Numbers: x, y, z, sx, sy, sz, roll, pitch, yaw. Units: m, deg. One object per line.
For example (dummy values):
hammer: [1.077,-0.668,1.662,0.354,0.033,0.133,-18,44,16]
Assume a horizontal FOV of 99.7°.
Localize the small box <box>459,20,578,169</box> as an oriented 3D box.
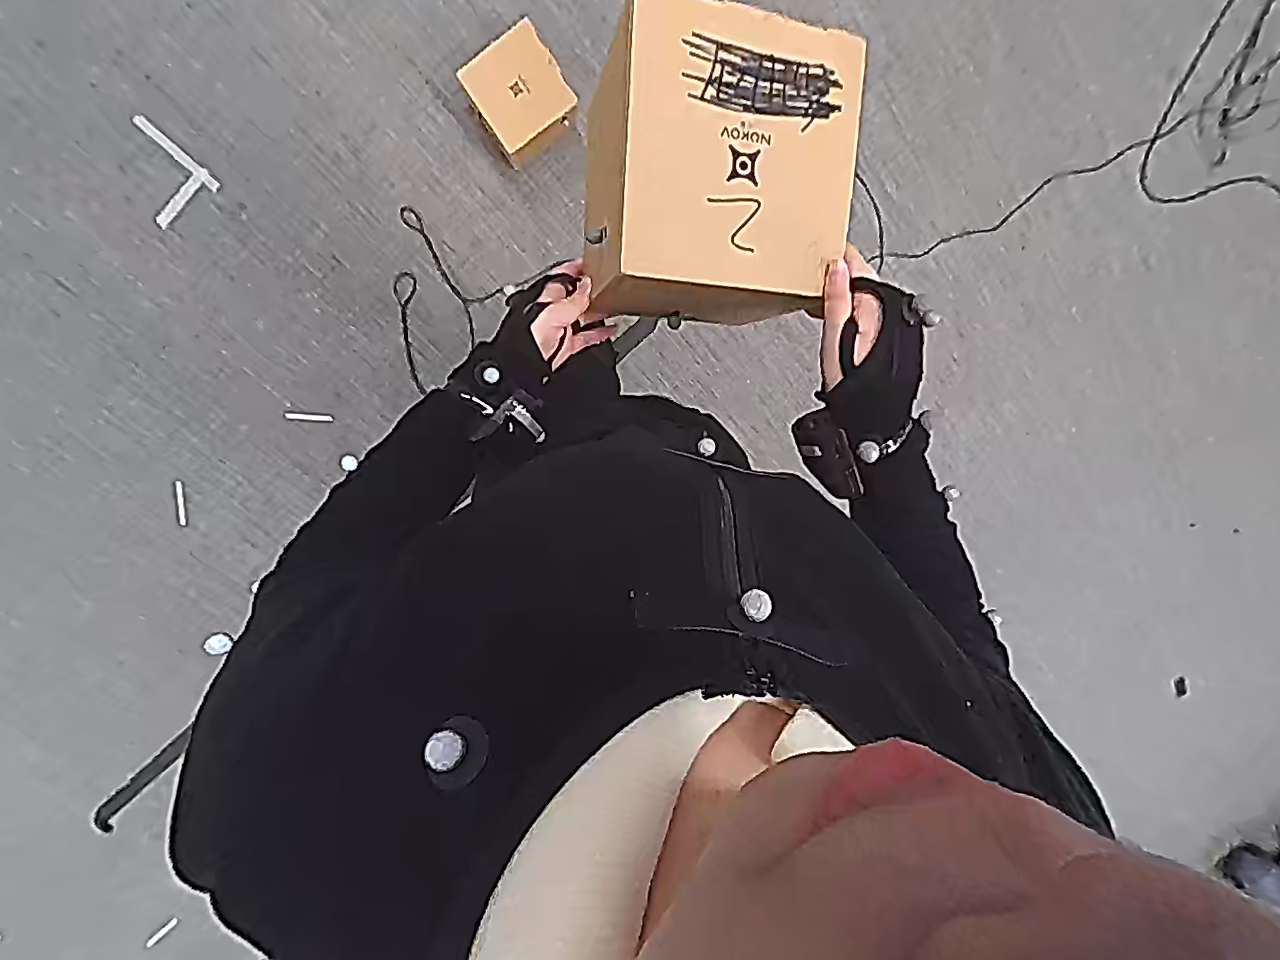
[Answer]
small box: [-0.245,-0.787,1.130,0.179,0.176,0.168,-36,111,4]
